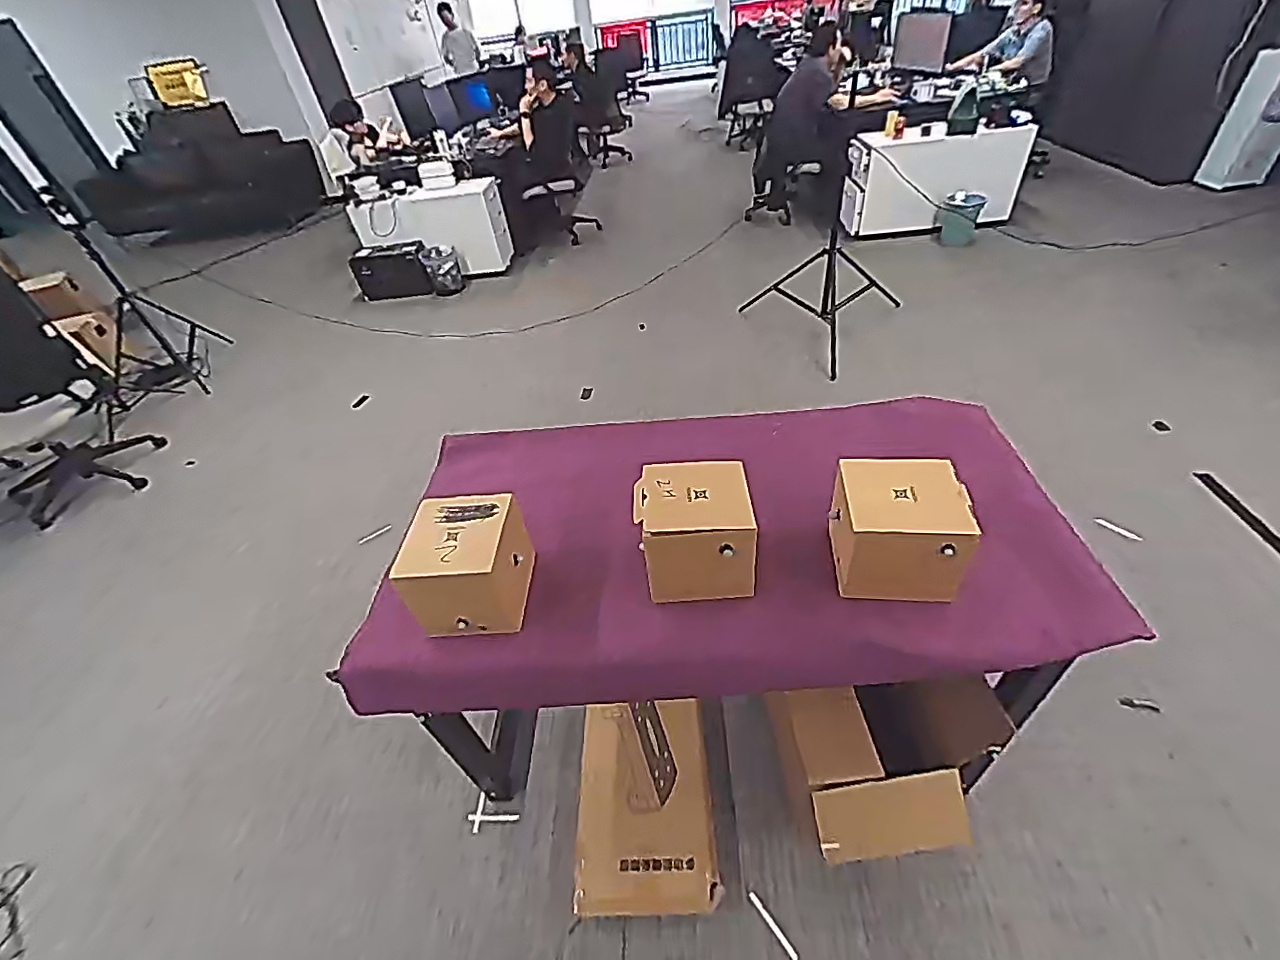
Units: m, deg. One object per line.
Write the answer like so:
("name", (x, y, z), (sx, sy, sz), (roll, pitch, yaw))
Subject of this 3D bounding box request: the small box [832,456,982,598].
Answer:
("small box", (0.417, 0.077, 0.884), (0.179, 0.176, 0.168), (0, 43, 9))

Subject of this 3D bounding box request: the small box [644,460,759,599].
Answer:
("small box", (0.101, 0.086, 0.925), (0.179, 0.176, 0.168), (-5, 40, 4))
